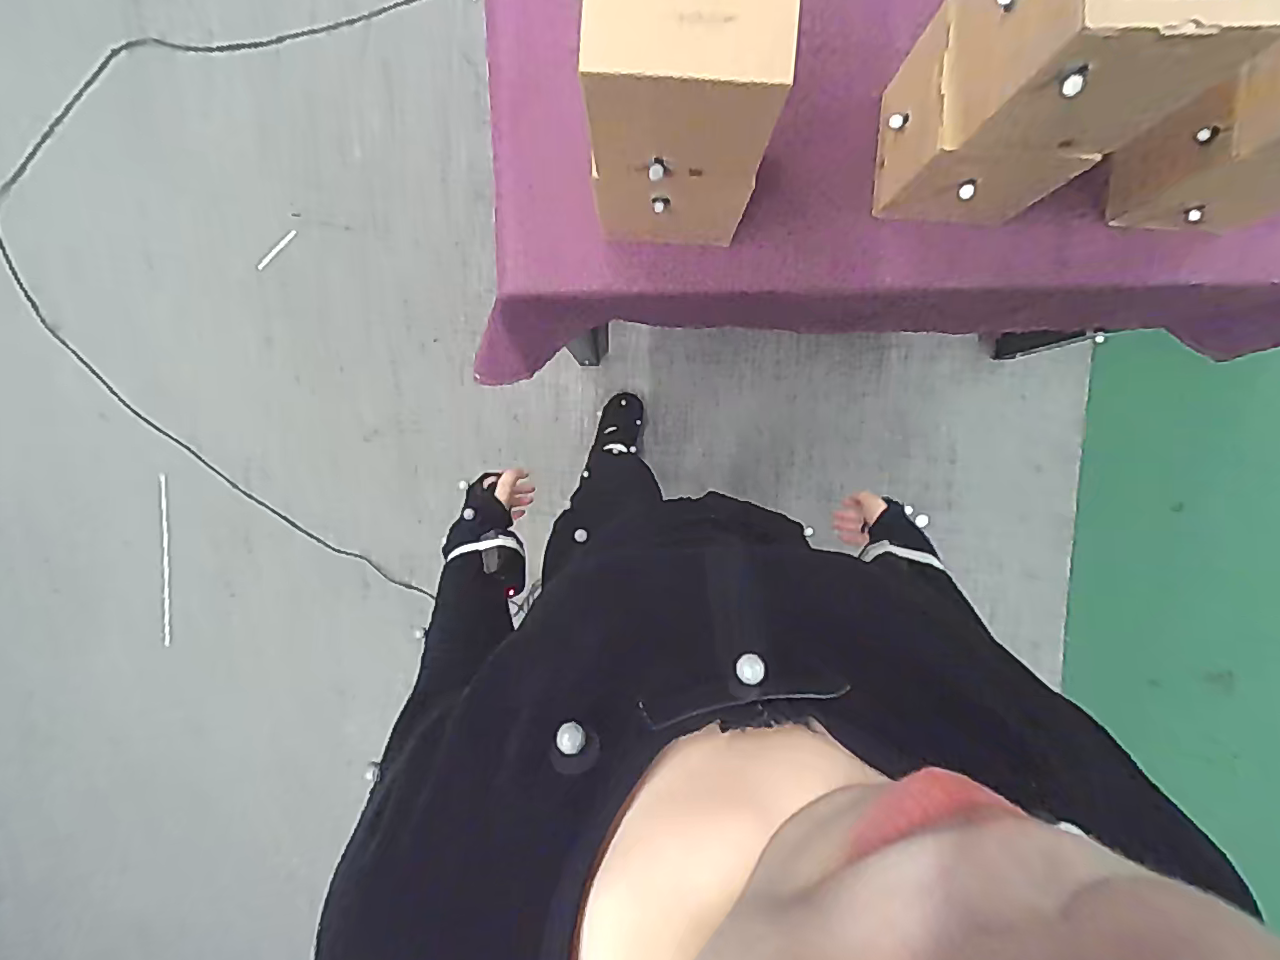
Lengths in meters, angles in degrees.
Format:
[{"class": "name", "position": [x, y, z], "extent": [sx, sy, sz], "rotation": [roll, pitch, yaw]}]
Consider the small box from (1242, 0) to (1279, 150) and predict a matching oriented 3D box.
[{"class": "small box", "position": [0.715, -0.418, 0.485], "extent": [0.168, 0.176, 0.179], "rotation": [3, 93, 0]}]

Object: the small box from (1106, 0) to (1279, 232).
[{"class": "small box", "position": [0.714, -0.427, 0.650], "extent": [0.168, 0.176, 0.179], "rotation": [5, 93, 0]}]

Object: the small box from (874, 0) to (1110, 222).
[{"class": "small box", "position": [0.403, -0.430, 0.651], "extent": [0.179, 0.176, 0.168], "rotation": [4, 93, 1]}]

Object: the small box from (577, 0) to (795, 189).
[{"class": "small box", "position": [0.040, -0.399, 0.491], "extent": [0.168, 0.176, 0.179], "rotation": [5, 93, 0]}]

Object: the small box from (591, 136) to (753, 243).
[{"class": "small box", "position": [0.038, -0.403, 0.654], "extent": [0.179, 0.176, 0.168], "rotation": [3, 93, -1]}]
